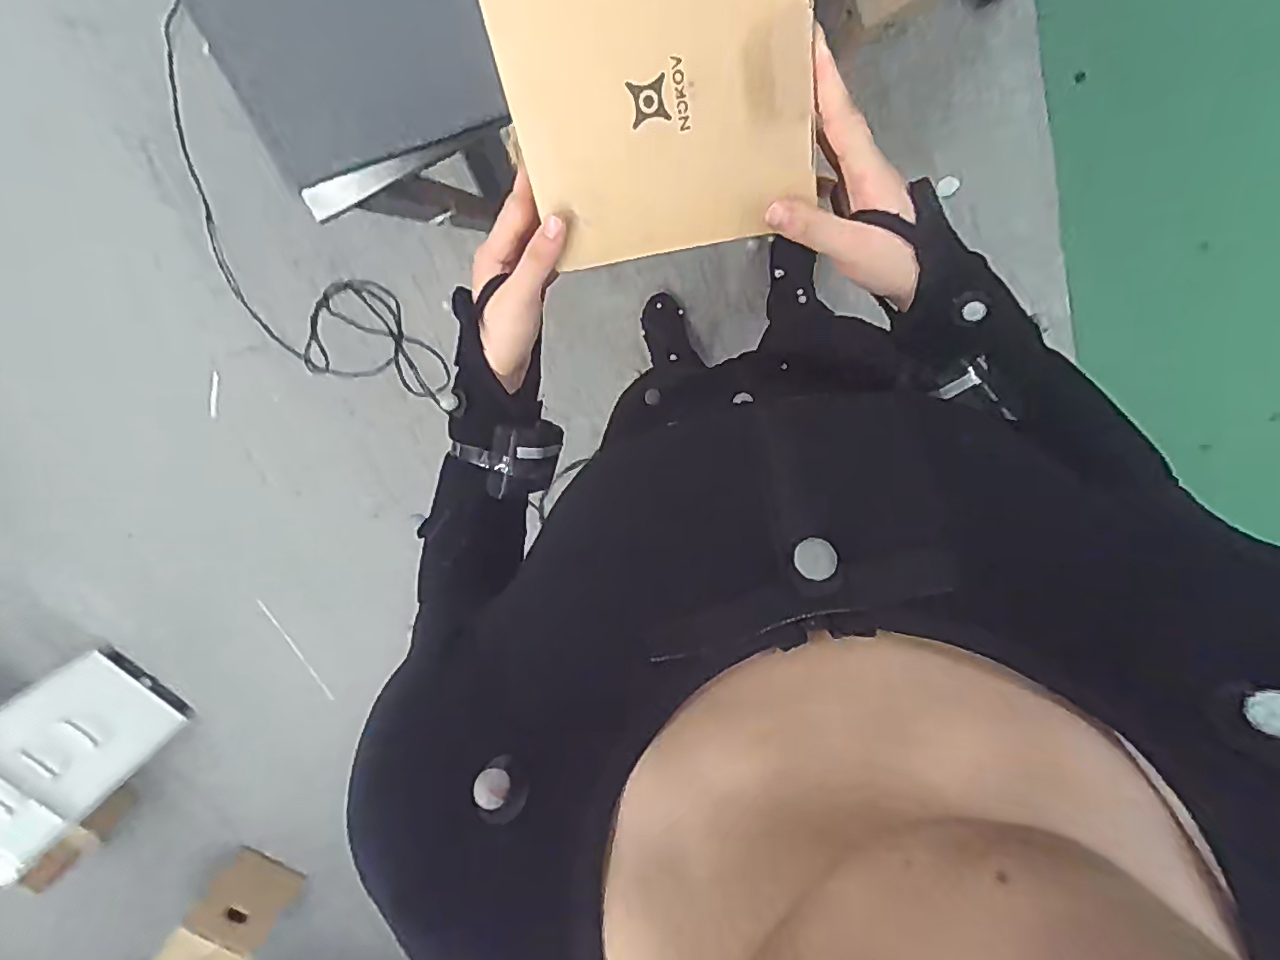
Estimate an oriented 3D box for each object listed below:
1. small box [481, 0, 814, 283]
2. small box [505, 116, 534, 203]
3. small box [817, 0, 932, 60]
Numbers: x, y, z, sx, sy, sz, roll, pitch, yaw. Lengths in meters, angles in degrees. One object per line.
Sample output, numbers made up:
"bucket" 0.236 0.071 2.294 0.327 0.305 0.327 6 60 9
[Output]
"small box" 0.021 -0.253 0.381 0.179 0.176 0.168 -6 123 12
"small box" -0.173 -0.714 1.205 0.179 0.176 0.168 -8 110 9
"small box" 0.456 -0.962 1.047 0.168 0.176 0.179 -25 106 13
